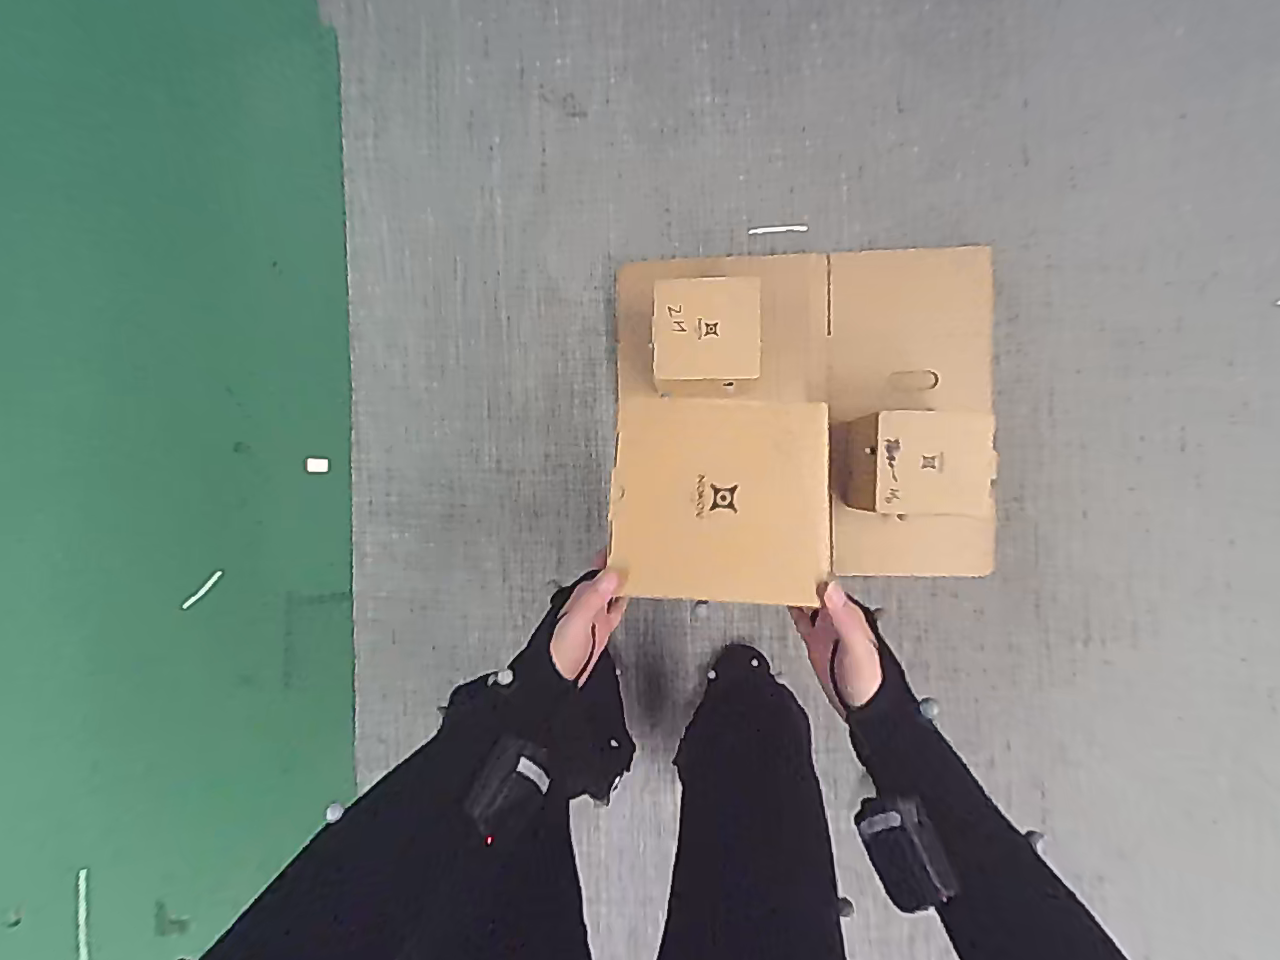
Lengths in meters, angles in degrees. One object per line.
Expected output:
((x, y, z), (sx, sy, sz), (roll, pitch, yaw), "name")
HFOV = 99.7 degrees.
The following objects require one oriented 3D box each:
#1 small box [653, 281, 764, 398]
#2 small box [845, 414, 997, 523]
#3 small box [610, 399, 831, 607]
((0.116, -0.238, 0.948), (0.179, 0.176, 0.168), (1, 90, 6), "small box")
((0.467, -0.020, 0.920), (0.179, 0.176, 0.168), (2, 90, 6), "small box")
((0.074, 0.027, 0.521), (0.179, 0.176, 0.168), (2, 81, 7), "small box")
